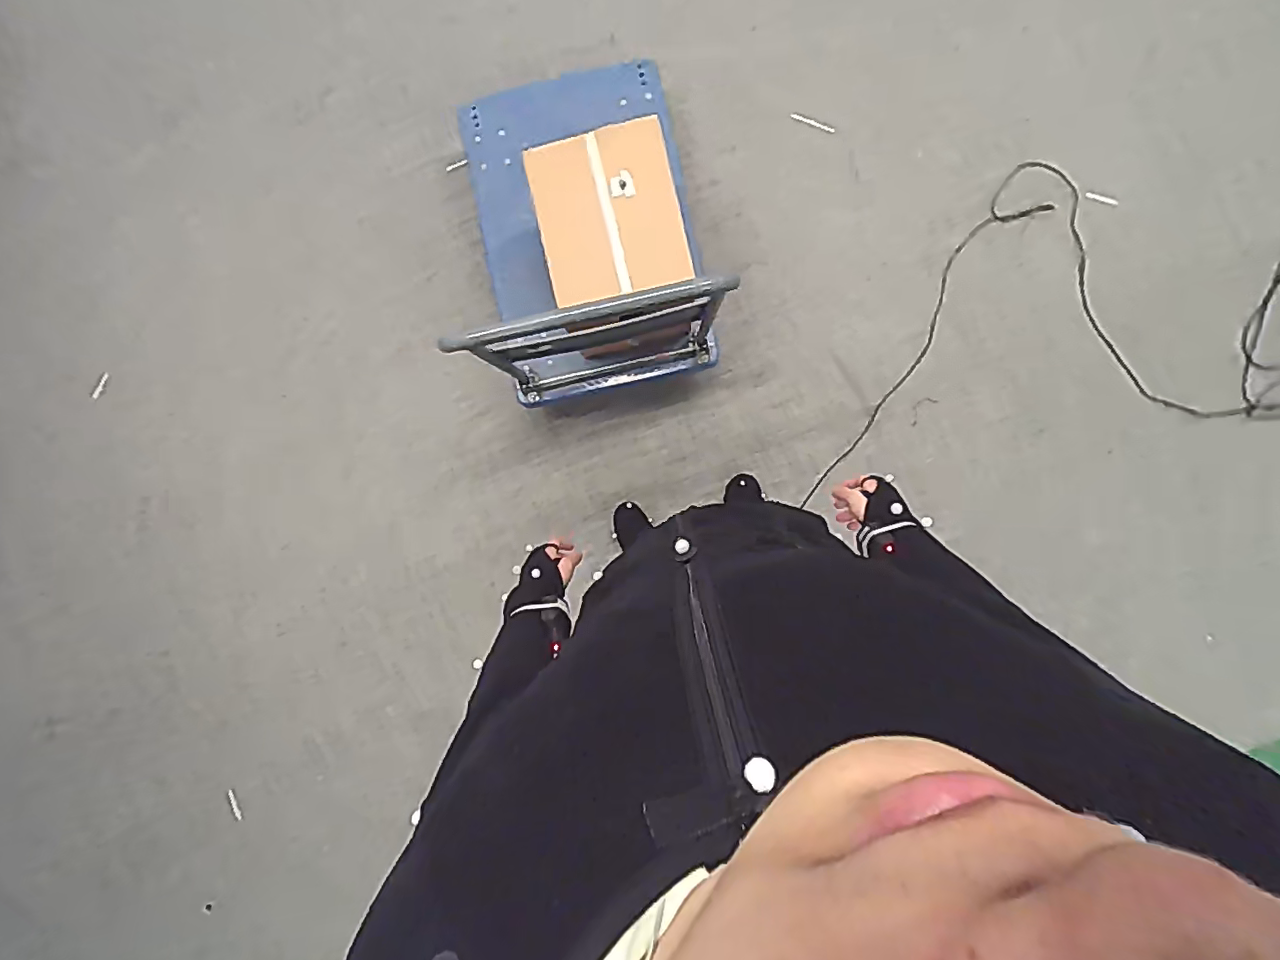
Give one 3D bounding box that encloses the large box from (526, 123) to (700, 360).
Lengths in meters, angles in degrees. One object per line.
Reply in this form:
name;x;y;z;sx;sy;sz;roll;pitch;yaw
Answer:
large box;-0.053;-0.558;1.340;0.320;0.320;0.408;-13;88;2
